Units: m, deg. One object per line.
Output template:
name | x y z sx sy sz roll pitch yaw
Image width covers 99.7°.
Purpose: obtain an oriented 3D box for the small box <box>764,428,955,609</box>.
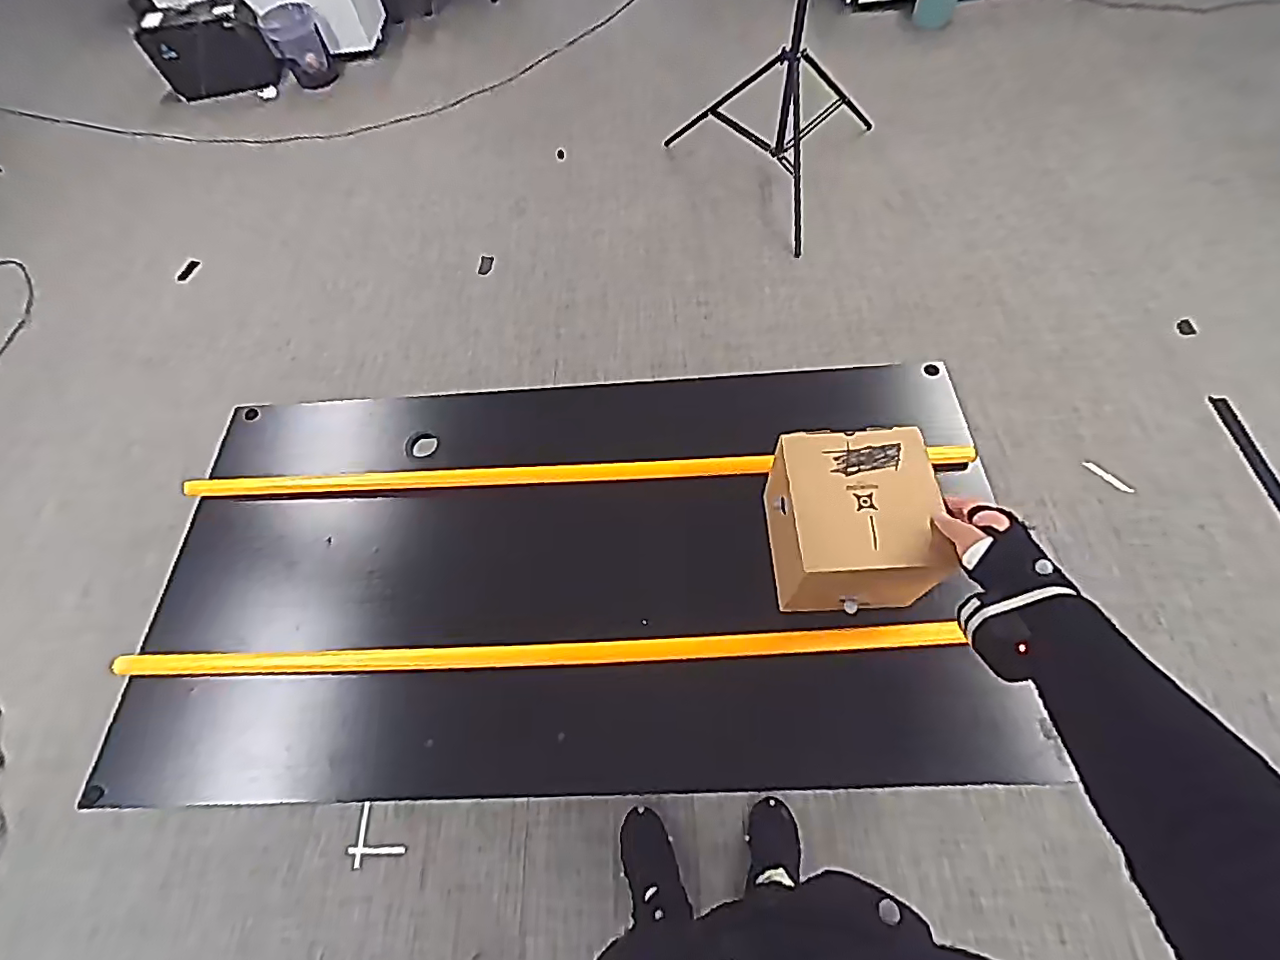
small box | 0.258 0.054 0.686 0.168 0.176 0.179 -3 62 4
